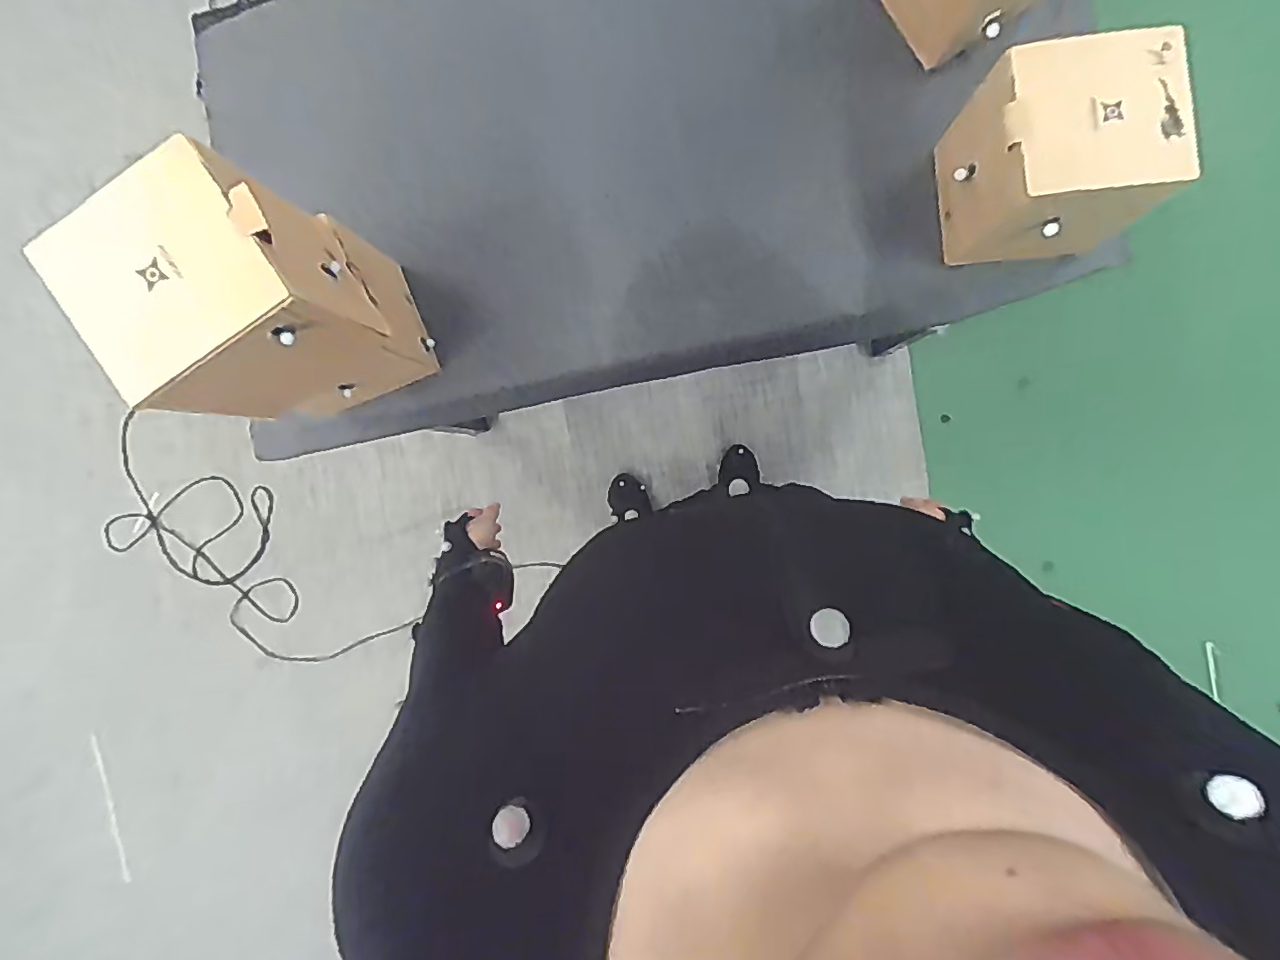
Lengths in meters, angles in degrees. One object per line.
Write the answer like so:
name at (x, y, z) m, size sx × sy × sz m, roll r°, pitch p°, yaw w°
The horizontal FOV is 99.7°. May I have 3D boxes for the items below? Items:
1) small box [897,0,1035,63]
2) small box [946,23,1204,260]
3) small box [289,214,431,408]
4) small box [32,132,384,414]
small box at (0.404, -0.654, 0.630) m, size 0.168 × 0.176 × 0.179 m, roll -32°, pitch 92°, yaw 7°
small box at (0.482, -0.375, 0.633) m, size 0.179 × 0.176 × 0.168 m, roll -4°, pitch 88°, yaw 4°
small box at (-0.395, -0.200, 0.695) m, size 0.179 × 0.176 × 0.168 m, roll -21°, pitch 92°, yaw 4°
small box at (-0.399, -0.179, 0.533) m, size 0.179 × 0.176 × 0.168 m, roll -34°, pitch 91°, yaw 4°
